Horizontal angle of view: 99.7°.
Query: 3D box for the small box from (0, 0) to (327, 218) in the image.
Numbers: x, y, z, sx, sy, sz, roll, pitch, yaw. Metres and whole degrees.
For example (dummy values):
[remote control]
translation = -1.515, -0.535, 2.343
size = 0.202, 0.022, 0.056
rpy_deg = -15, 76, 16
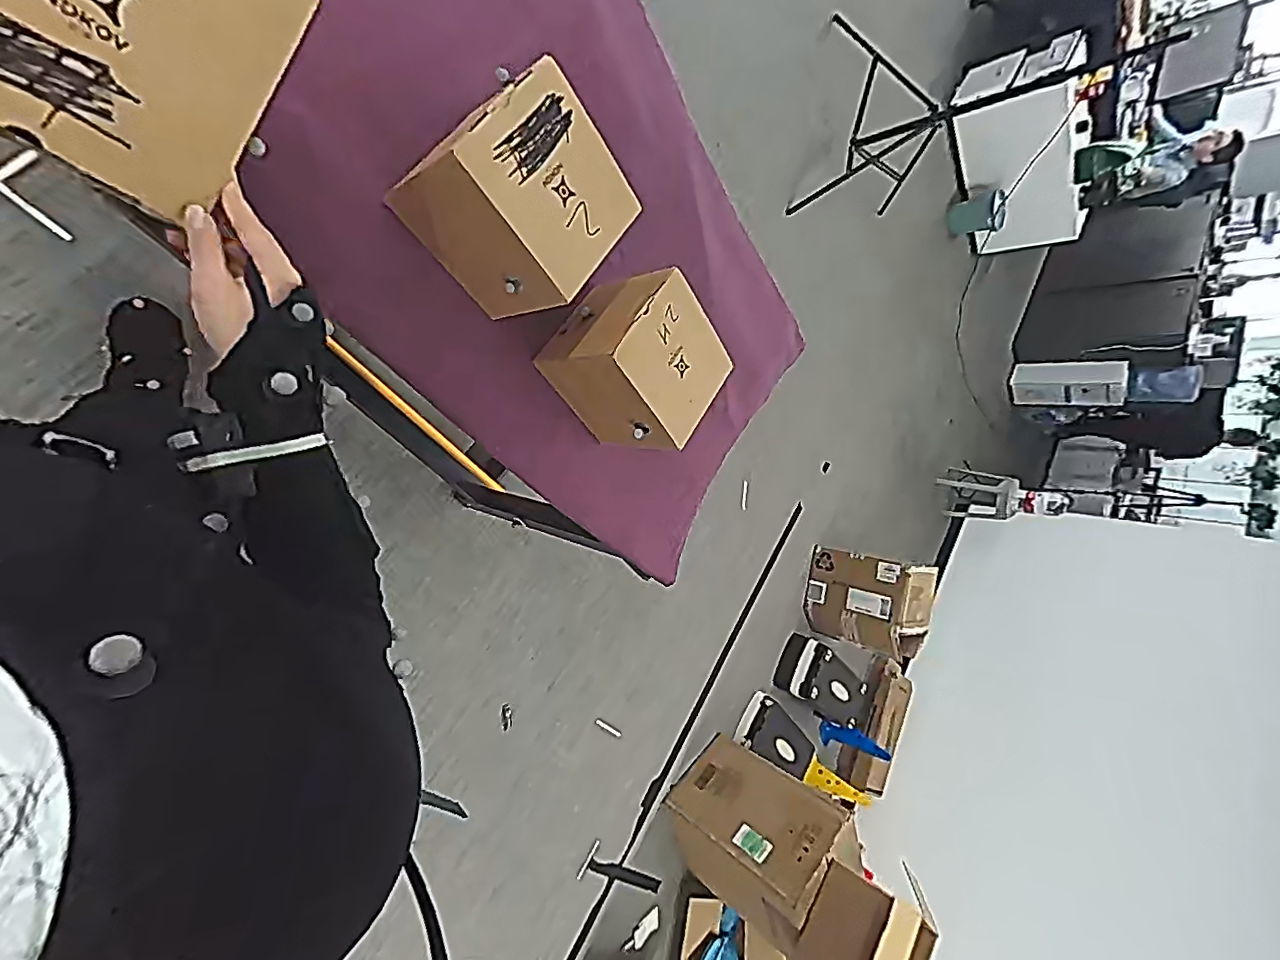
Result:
[small box]
translation = -0.341, -0.302, 0.348
size = 0.168, 0.176, 0.179
rpy_deg = 28, 93, -48
